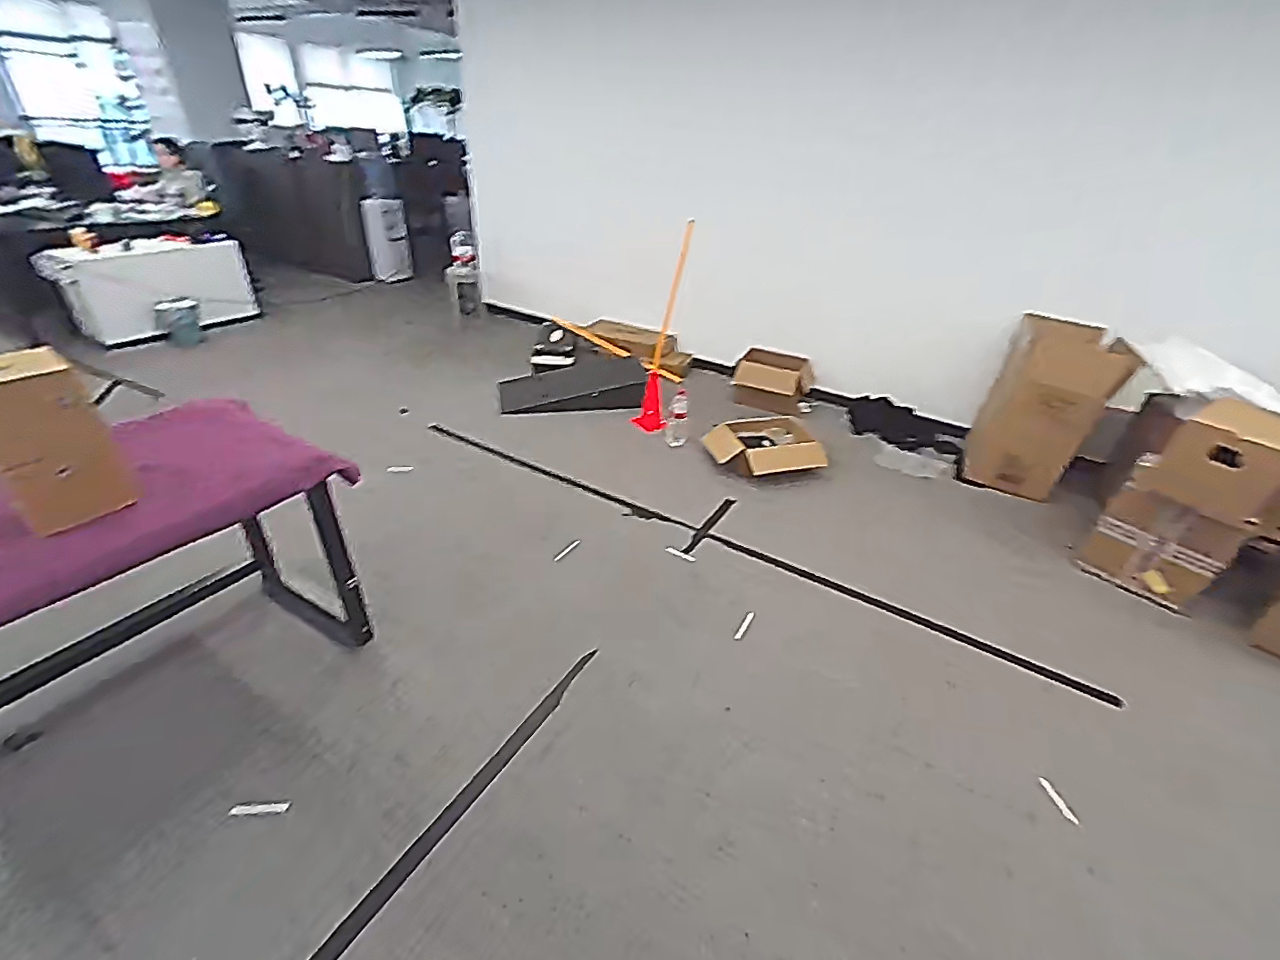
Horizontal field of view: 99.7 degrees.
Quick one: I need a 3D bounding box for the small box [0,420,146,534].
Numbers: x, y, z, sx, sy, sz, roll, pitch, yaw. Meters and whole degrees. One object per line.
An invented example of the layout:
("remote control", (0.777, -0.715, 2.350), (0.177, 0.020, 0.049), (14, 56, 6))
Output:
("small box", (-1.262, -0.007, 1.200), (0.168, 0.176, 0.179), (23, 36, 25))
